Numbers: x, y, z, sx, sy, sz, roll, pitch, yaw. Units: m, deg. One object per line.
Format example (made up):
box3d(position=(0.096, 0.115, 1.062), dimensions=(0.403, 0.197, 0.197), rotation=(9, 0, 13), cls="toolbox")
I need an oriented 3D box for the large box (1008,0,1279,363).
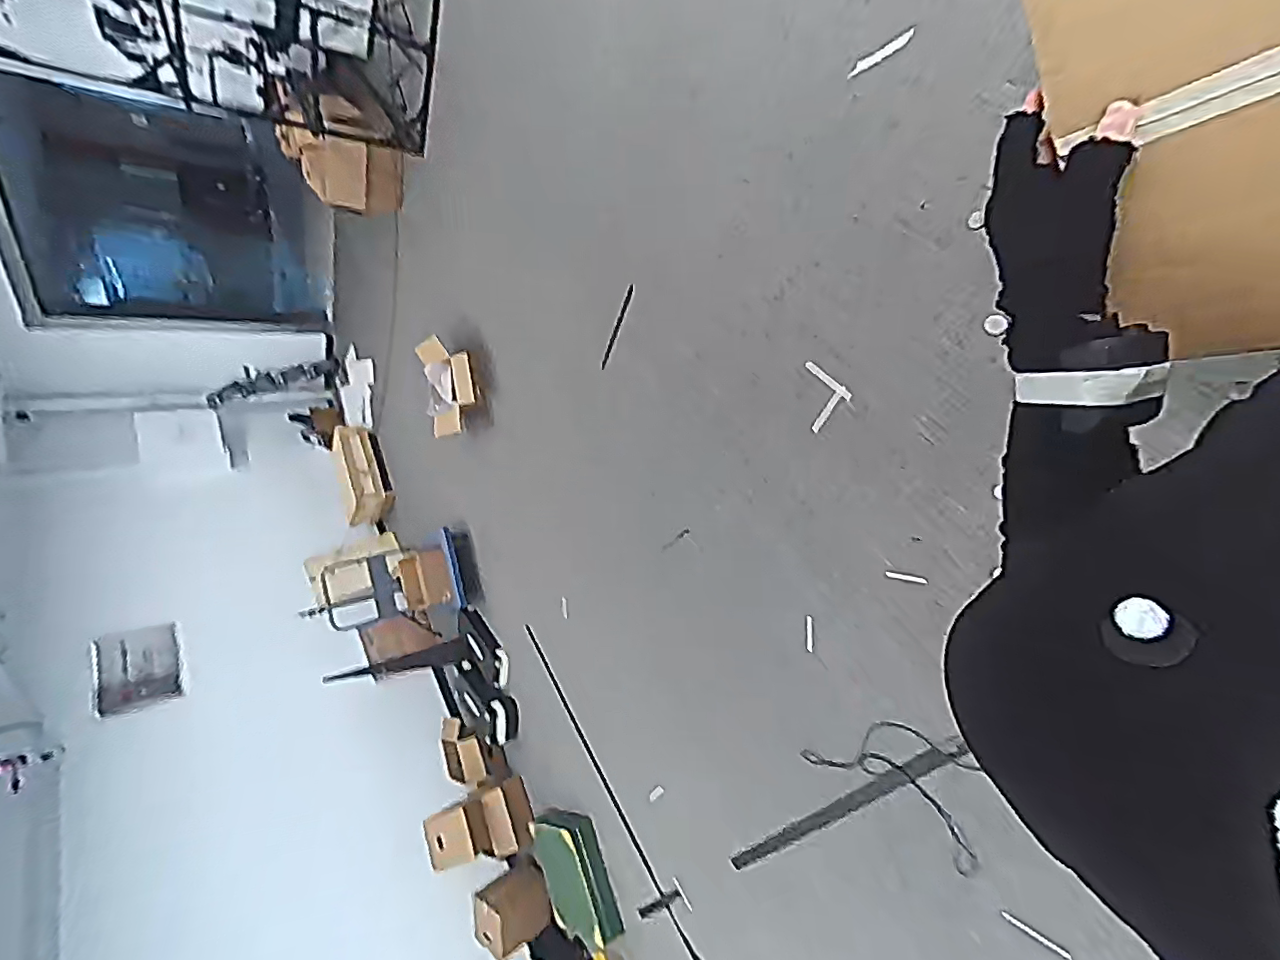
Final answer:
box3d(position=(0.473, -0.295, 0.247), dimensions=(0.408, 0.320, 0.320), rotation=(2, 132, 57), cls="large box")
